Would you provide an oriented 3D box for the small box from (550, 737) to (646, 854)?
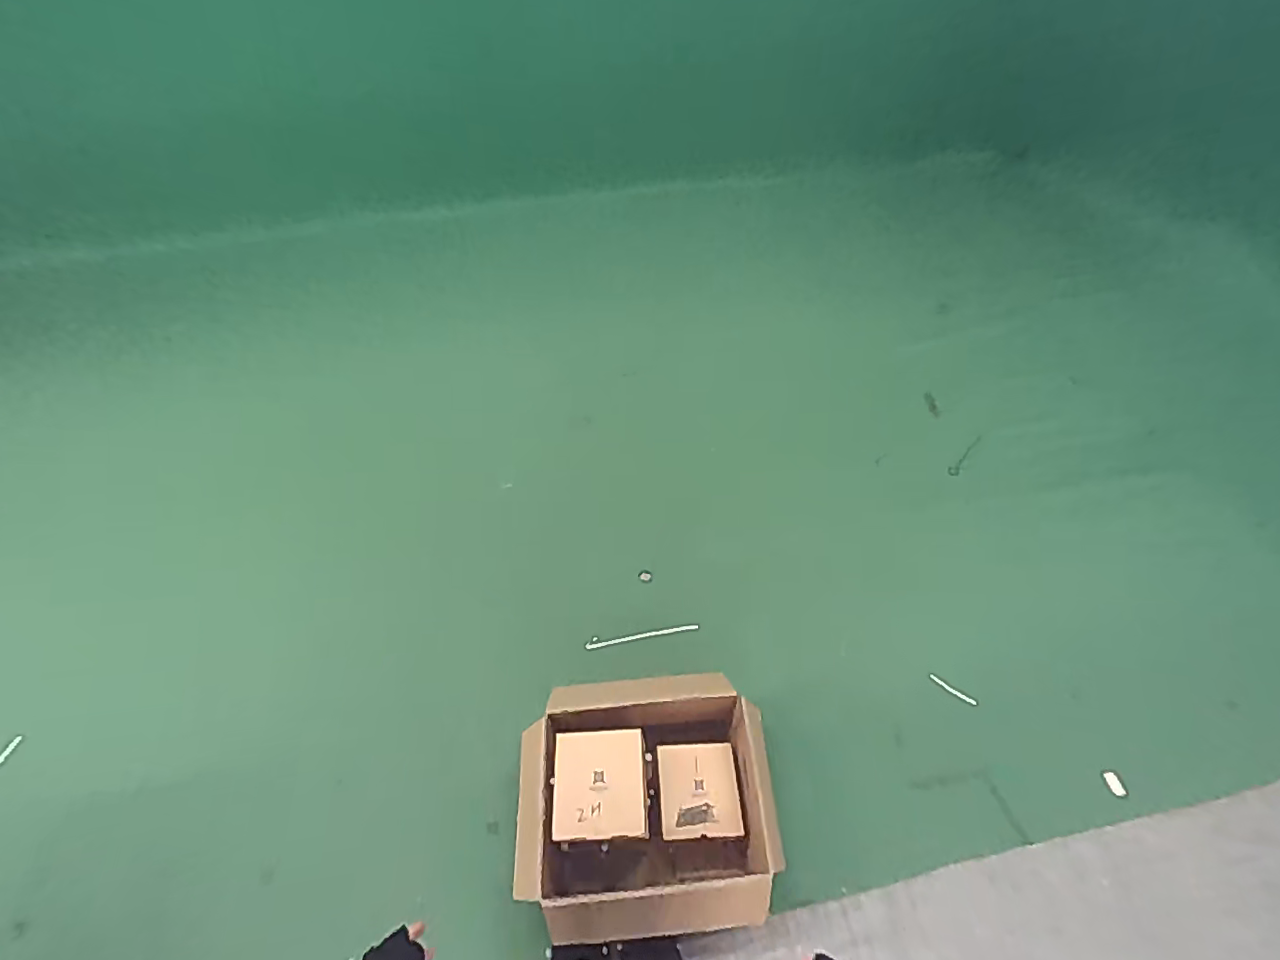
[{"bbox_3d":[-0.074,0.612,1.045,0.168,0.176,0.179,-3,53,1],"label":"small box"}]
